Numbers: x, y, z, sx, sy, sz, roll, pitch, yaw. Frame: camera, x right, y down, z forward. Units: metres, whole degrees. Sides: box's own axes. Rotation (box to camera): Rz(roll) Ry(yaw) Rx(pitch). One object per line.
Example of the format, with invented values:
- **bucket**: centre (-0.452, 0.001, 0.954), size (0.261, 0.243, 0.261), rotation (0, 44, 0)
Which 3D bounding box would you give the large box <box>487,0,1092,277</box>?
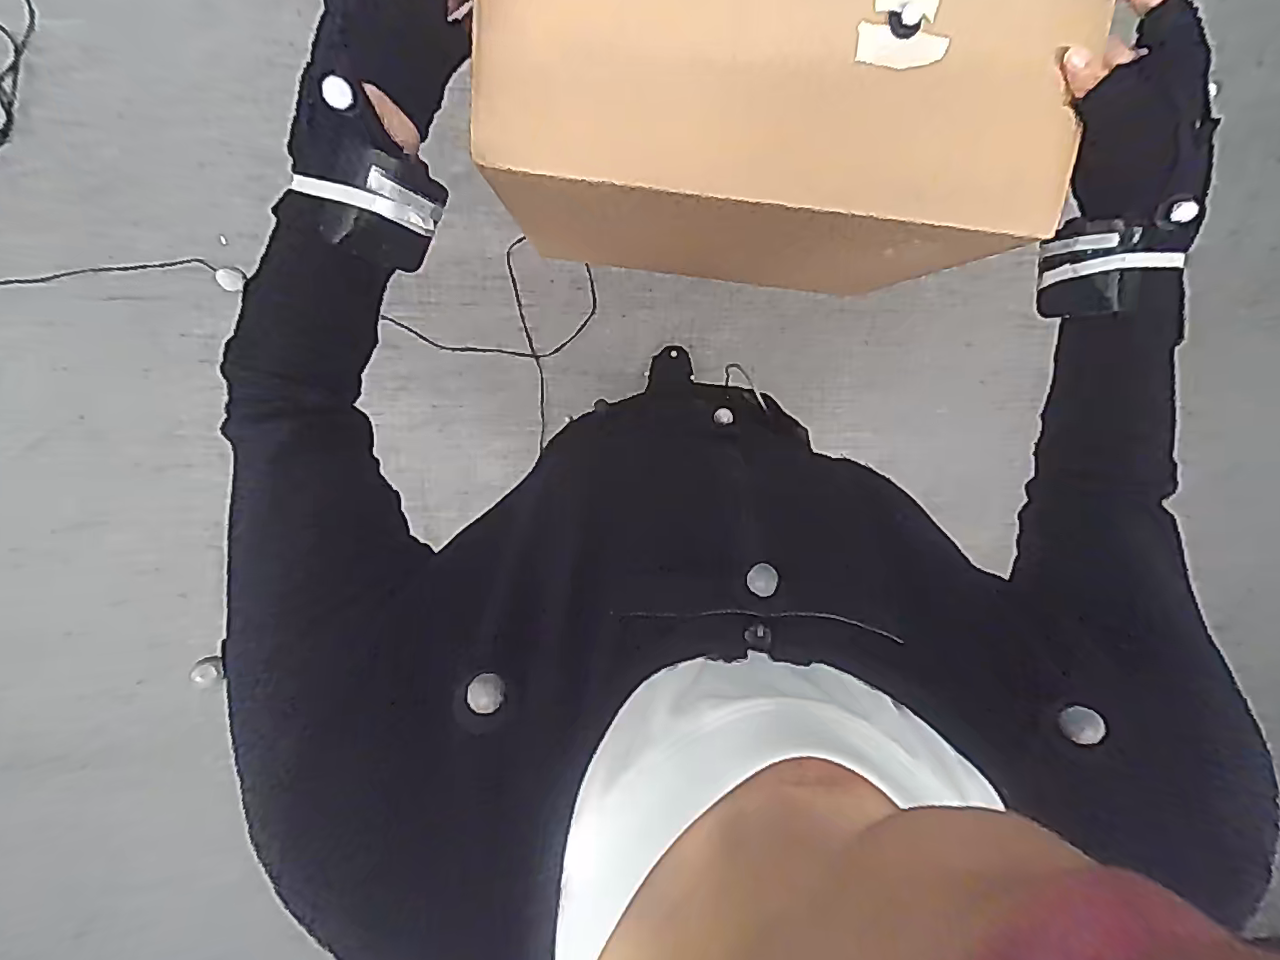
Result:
- **large box**: centre (0.097, -0.384, 0.489), size (0.408, 0.320, 0.320), rotation (5, 103, -4)
